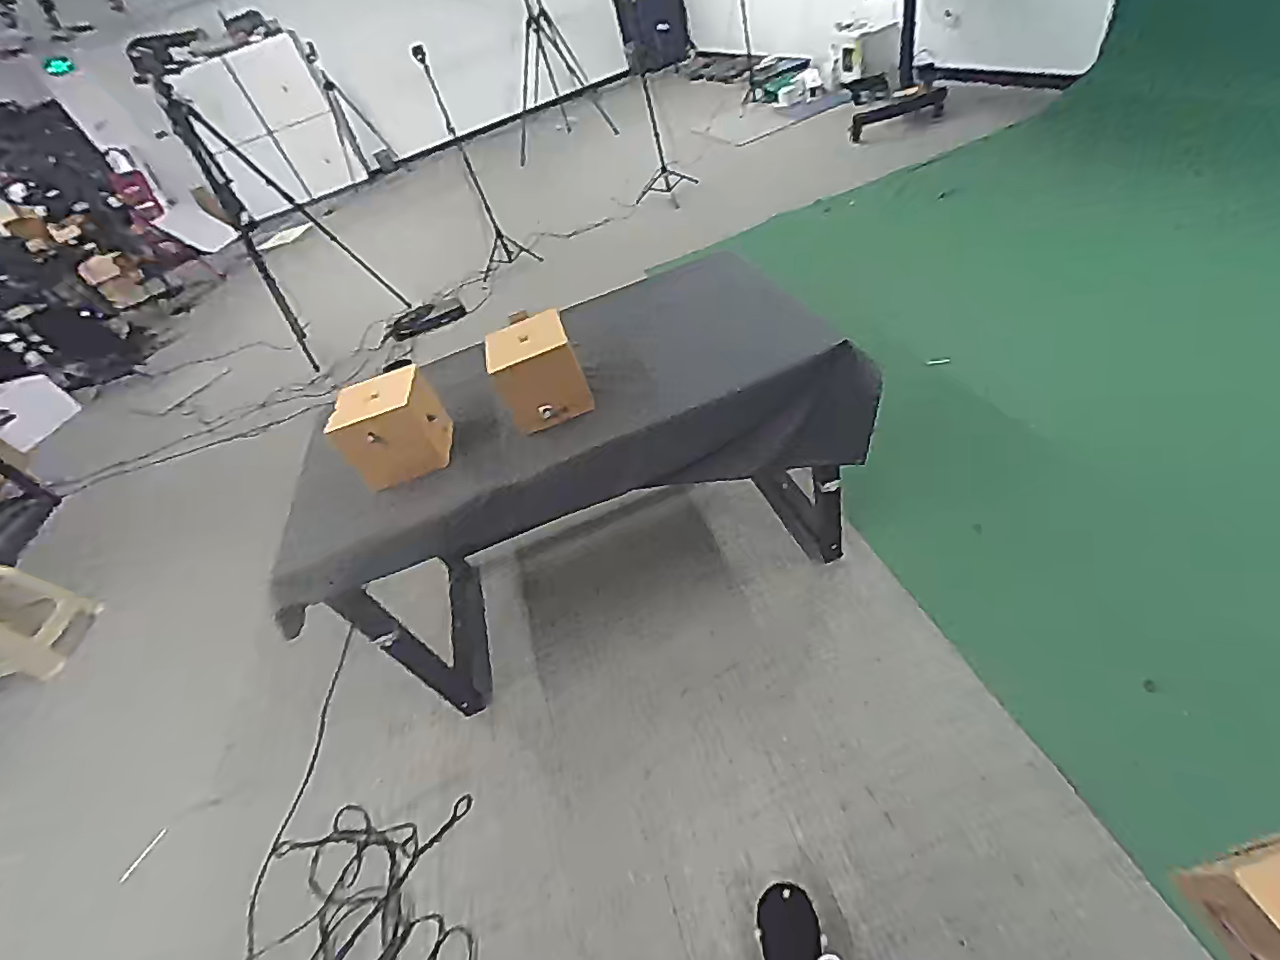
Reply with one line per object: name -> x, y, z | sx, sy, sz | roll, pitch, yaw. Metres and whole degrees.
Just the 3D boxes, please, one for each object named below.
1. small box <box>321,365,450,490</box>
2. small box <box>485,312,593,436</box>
small box -> -0.520, -0.107, 1.136 | 0.179, 0.176, 0.168 | -18, 42, 2
small box -> -0.213, -0.223, 1.143 | 0.168, 0.176, 0.179 | -22, 43, -1
